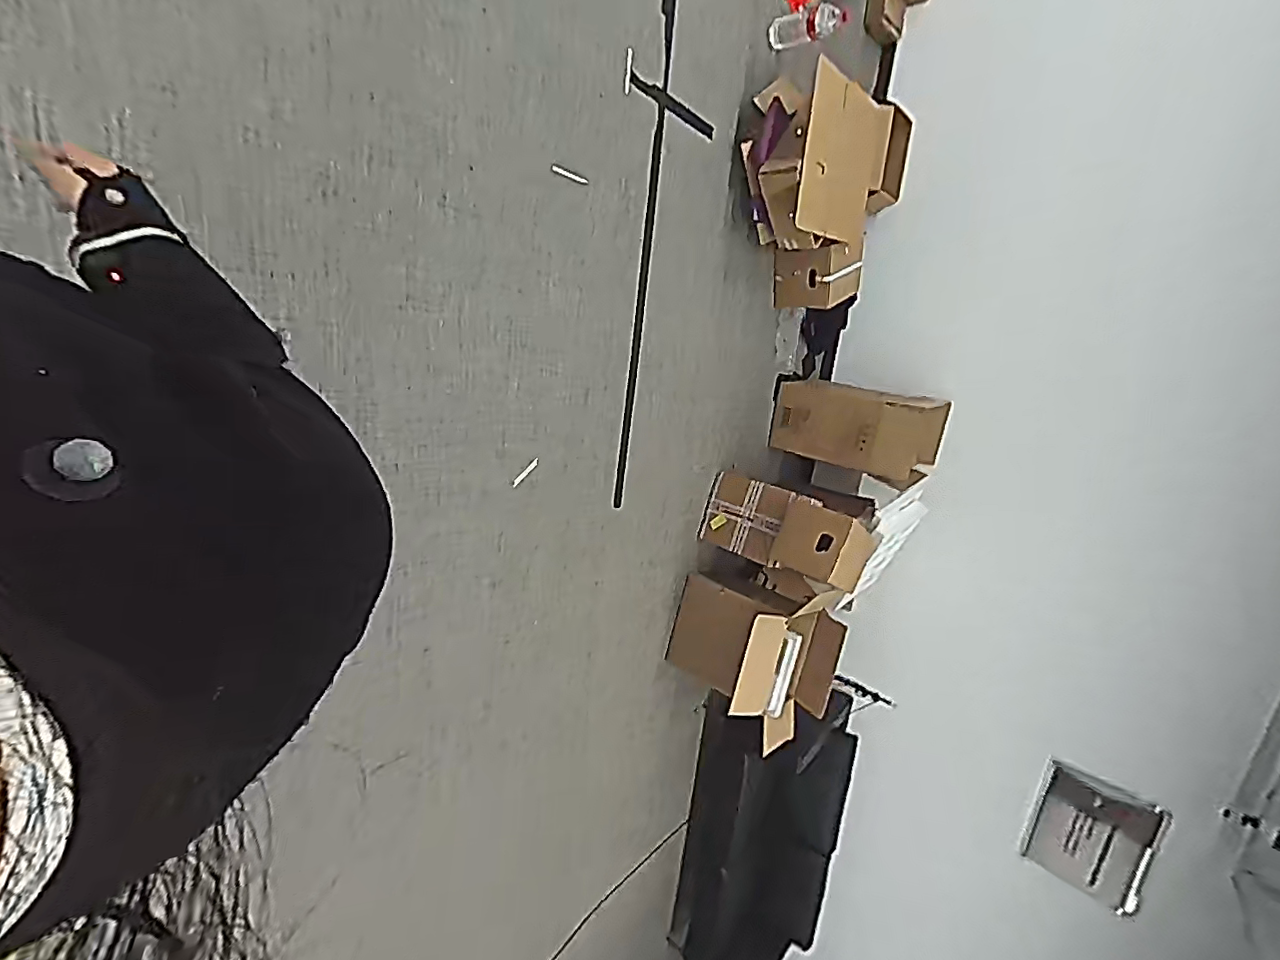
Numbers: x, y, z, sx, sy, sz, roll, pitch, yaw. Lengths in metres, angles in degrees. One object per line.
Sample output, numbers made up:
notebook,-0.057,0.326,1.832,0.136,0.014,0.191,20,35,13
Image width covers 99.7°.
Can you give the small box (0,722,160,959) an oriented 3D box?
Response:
small box,-0.720,0.430,0.669,0.168,0.176,0.179,-6,107,-48
